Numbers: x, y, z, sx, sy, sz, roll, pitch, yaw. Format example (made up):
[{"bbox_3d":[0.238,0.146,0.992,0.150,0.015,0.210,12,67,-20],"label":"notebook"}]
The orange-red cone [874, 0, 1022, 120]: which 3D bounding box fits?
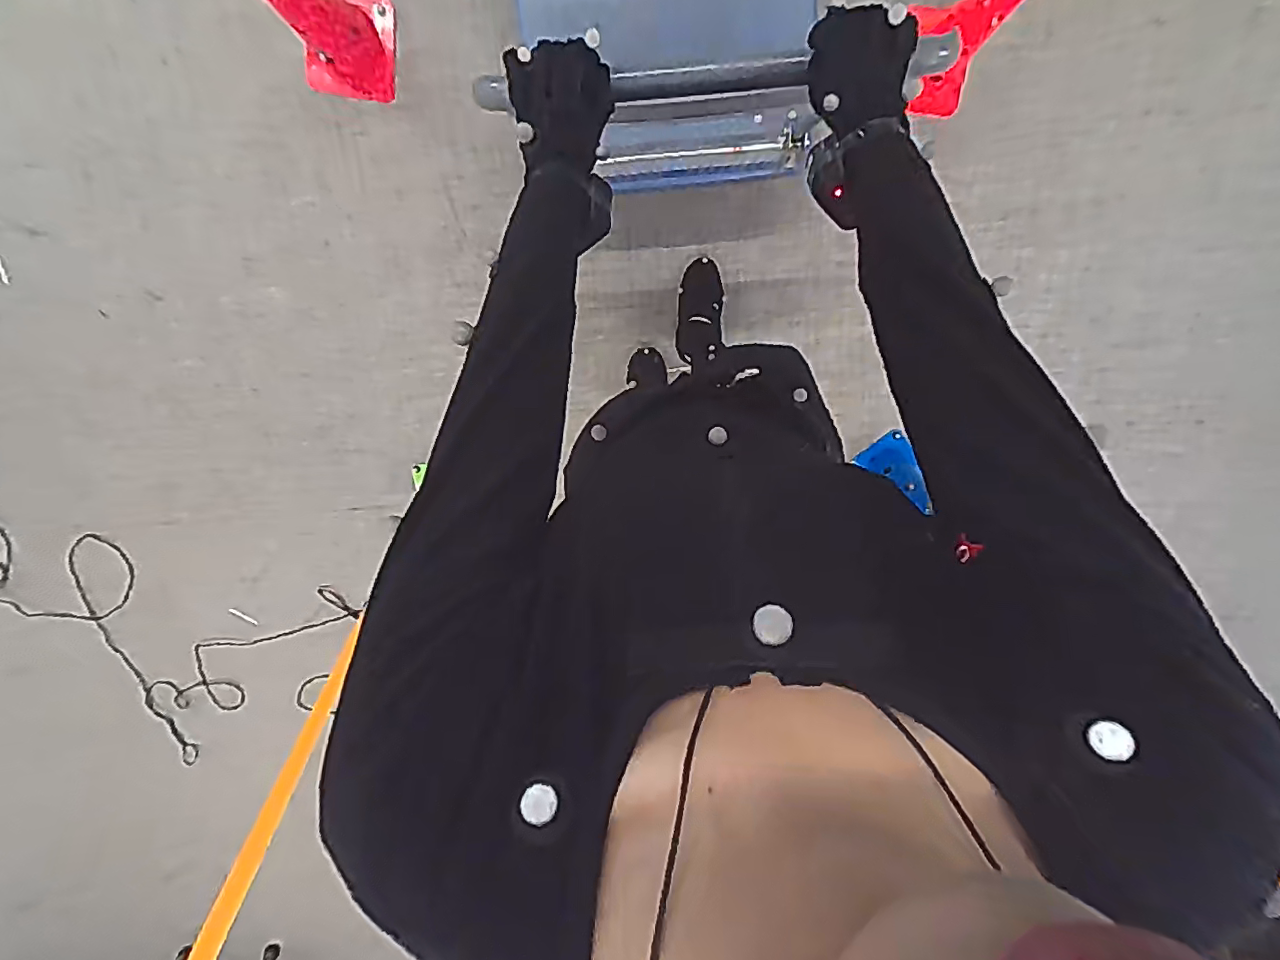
[{"bbox_3d":[0.637,-0.874,1.052,0.198,0.360,0.199,7,109,-1],"label":"orange-red cone"}]
